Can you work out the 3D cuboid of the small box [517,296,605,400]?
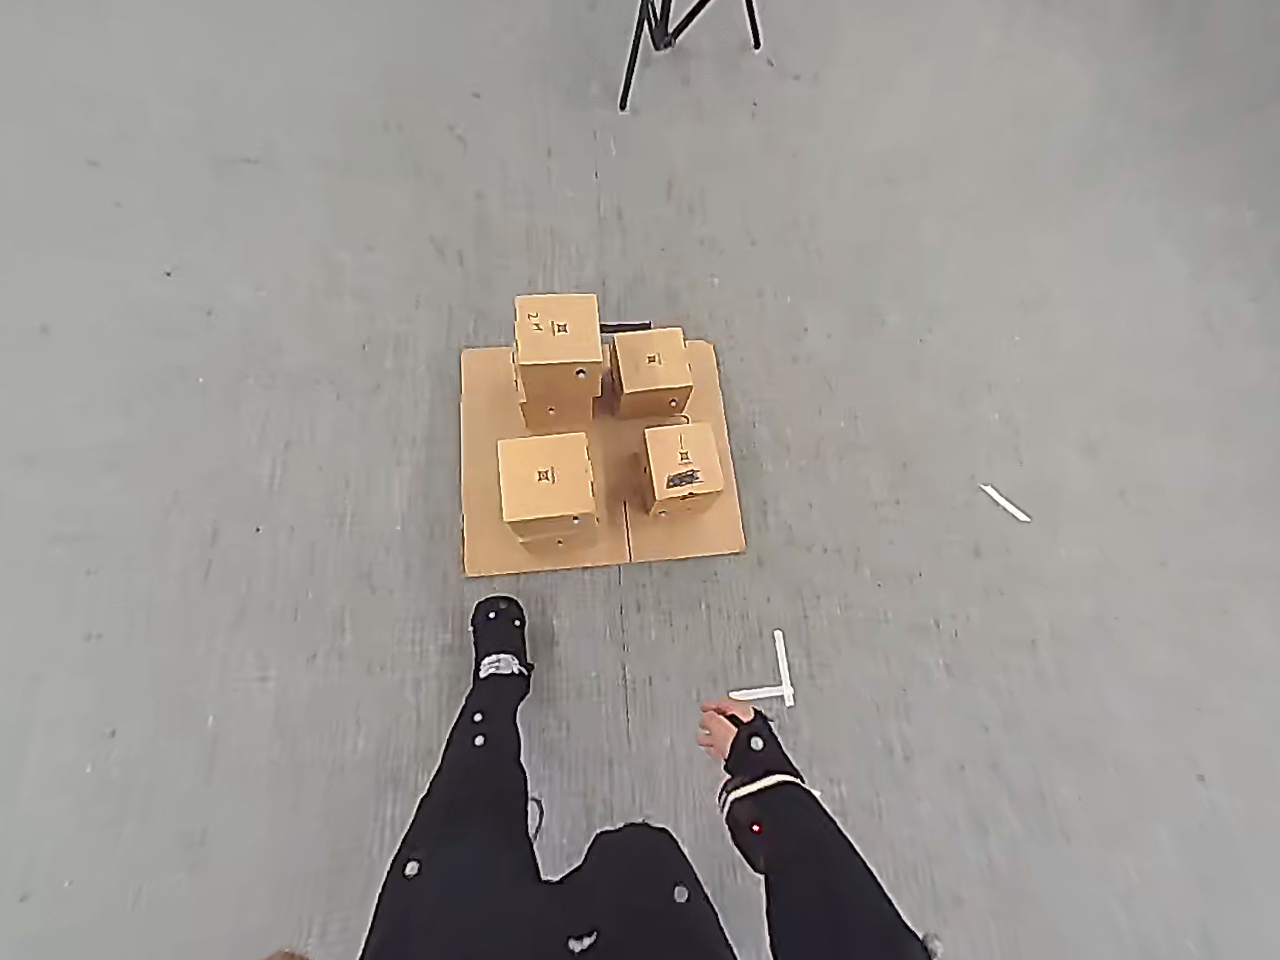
[{"bbox_3d":[-0.175,-0.287,1.197,0.179,0.176,0.168,-4,73,-7],"label":"small box"}]

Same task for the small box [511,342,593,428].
[{"bbox_3d":[-0.215,-0.239,1.352,0.179,0.176,0.168,-8,75,-7],"label":"small box"}]

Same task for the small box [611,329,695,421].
[{"bbox_3d":[0.027,-0.265,1.388,0.179,0.176,0.168,-8,74,-8],"label":"small box"}]

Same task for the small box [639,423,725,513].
[{"bbox_3d":[0.096,-0.022,1.321,0.168,0.176,0.179,-7,74,-8],"label":"small box"}]

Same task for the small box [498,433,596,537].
[{"bbox_3d":[-0.185,0.017,1.109,0.179,0.176,0.168,-6,75,-7],"label":"small box"}]
